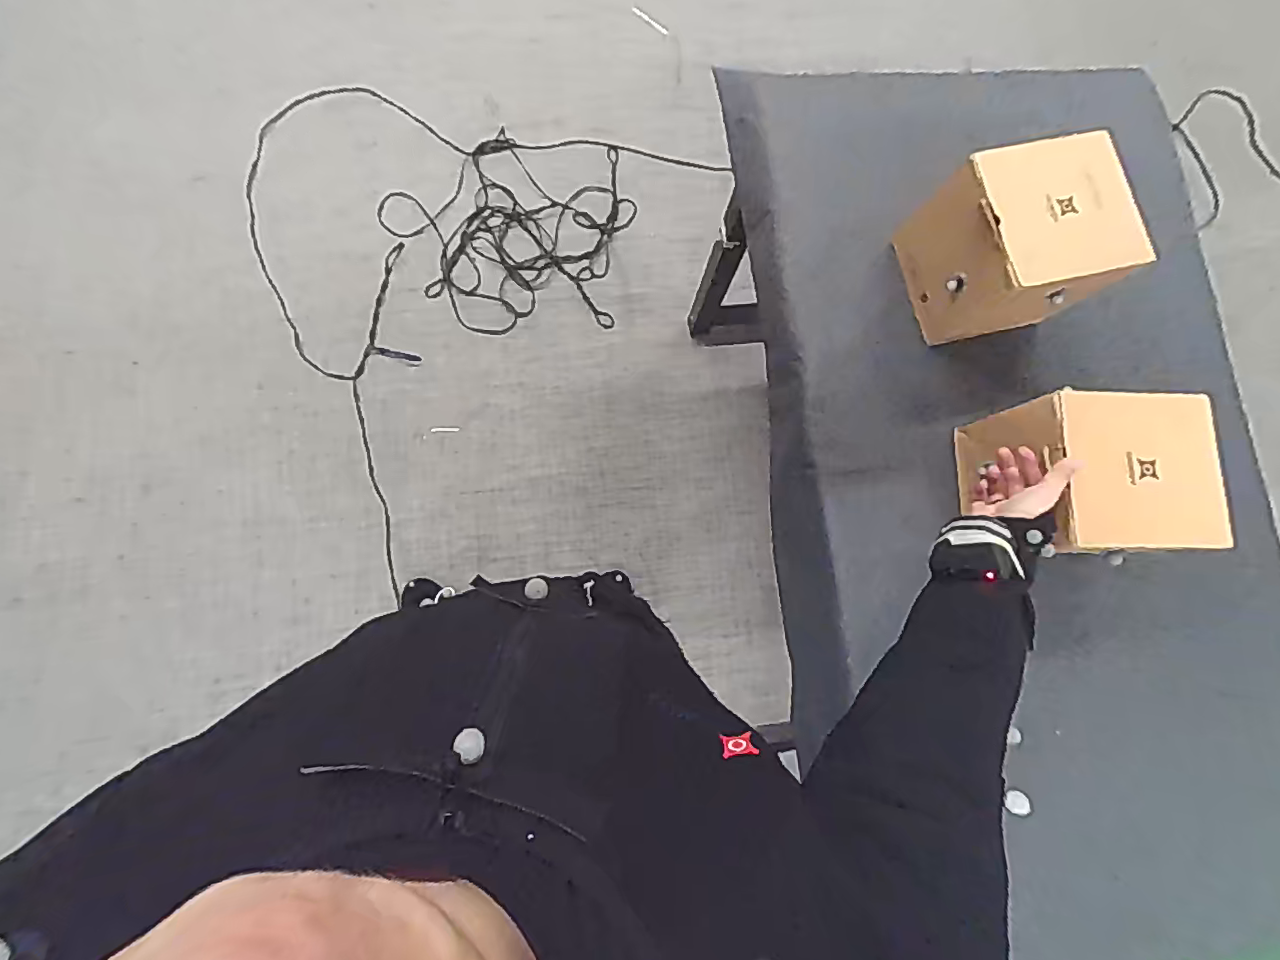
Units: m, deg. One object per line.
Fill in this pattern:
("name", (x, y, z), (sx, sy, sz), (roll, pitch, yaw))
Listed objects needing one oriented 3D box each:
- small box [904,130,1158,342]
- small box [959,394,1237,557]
("small box", (0.459, -0.287, 0.670), (0.179, 0.176, 0.168), (-13, 84, -8))
("small box", (0.512, 0.005, 0.629), (0.179, 0.176, 0.168), (0, 82, -5))
